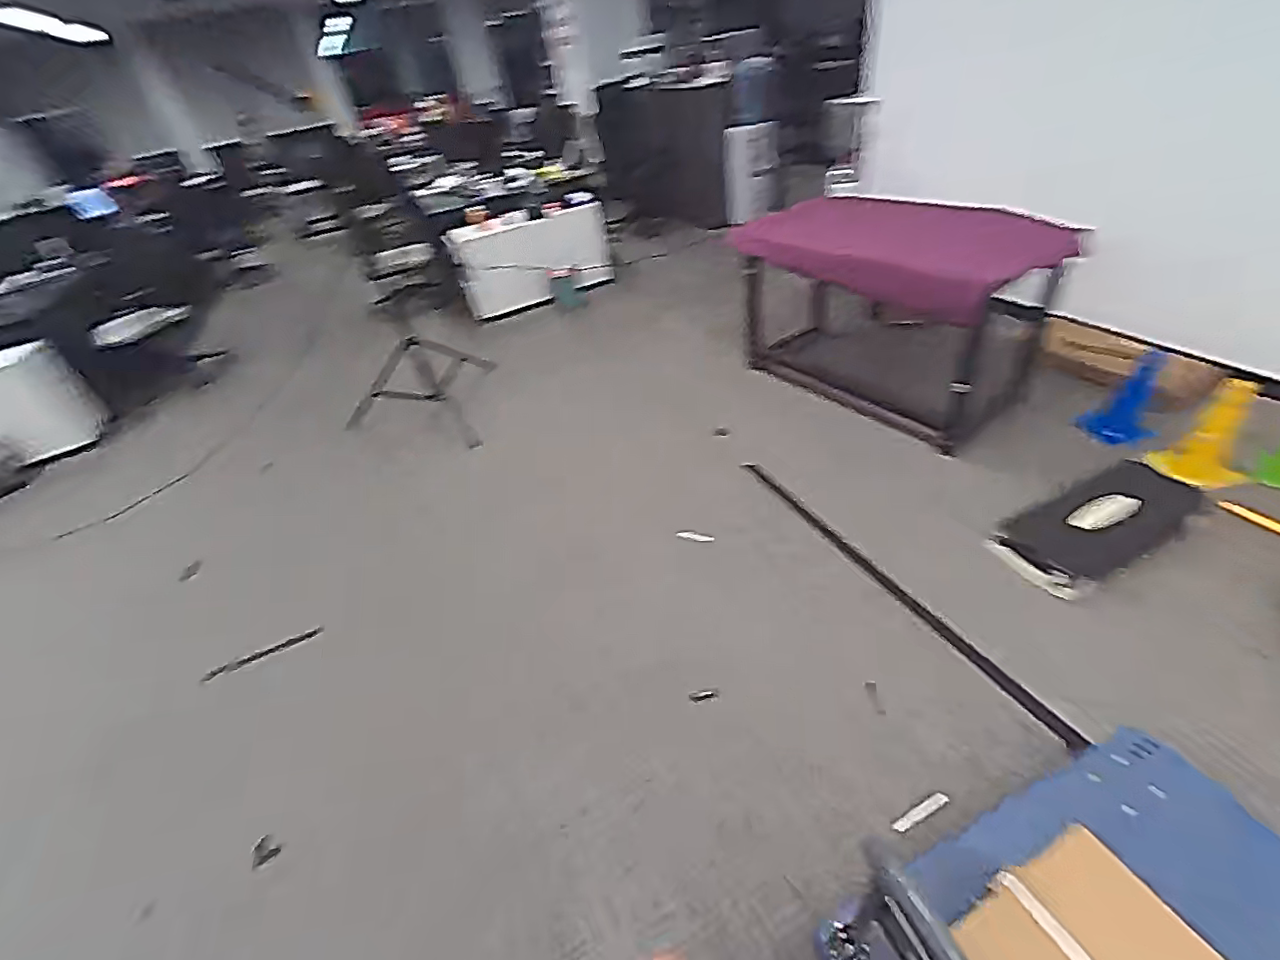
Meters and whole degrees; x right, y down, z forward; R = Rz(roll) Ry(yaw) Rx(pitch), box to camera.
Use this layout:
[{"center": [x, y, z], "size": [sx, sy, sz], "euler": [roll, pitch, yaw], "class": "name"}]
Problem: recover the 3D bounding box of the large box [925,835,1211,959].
[{"center": [0.654, 0.821, 0.753], "size": [0.320, 0.320, 0.408], "euler": [-24, 42, -15], "class": "large box"}]
